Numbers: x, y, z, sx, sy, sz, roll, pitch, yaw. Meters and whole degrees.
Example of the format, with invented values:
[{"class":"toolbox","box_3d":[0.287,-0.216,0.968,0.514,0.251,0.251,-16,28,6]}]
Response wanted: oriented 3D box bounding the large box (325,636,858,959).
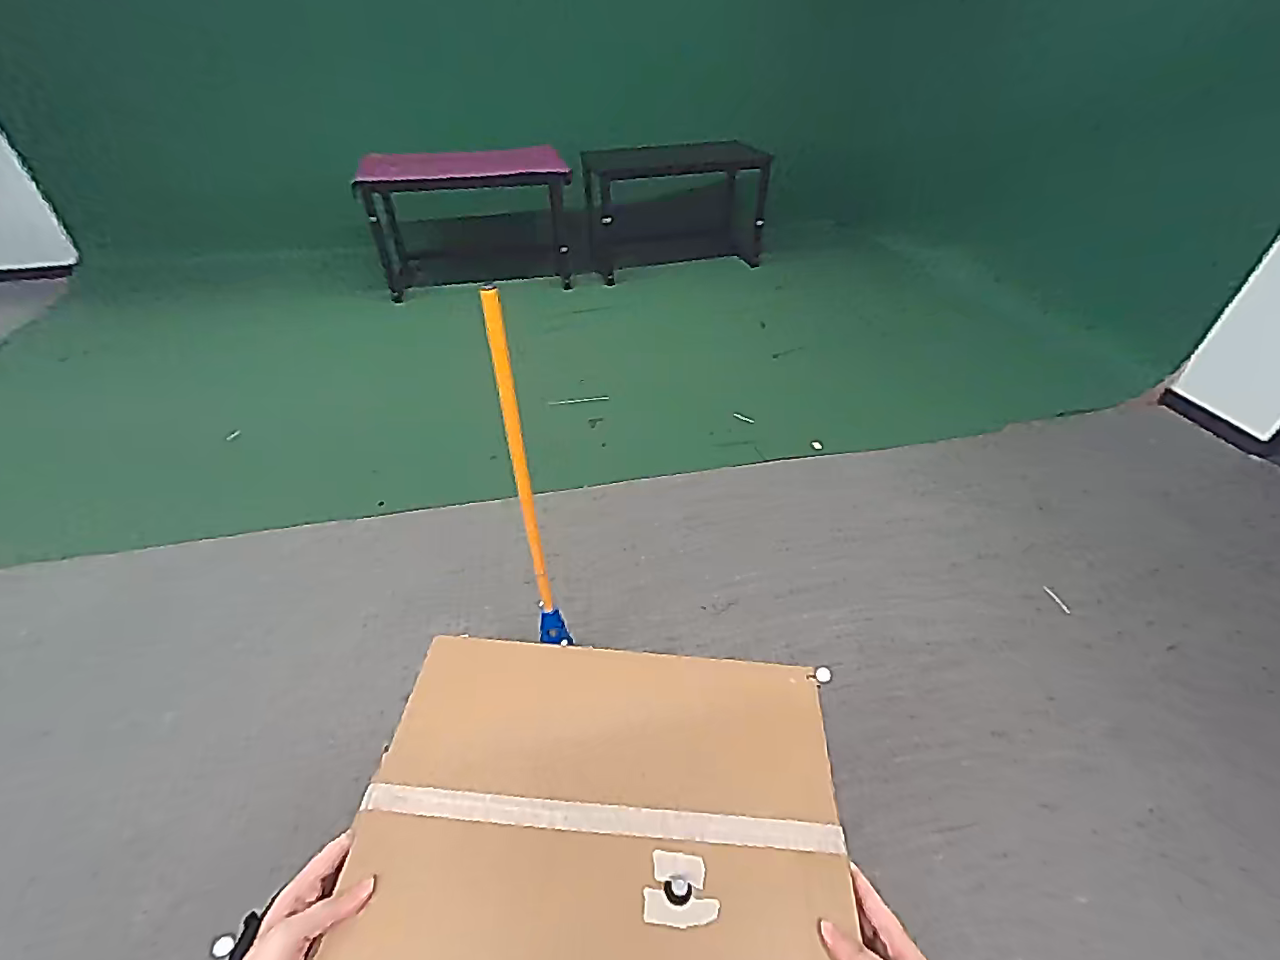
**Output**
[{"class":"large box","box_3d":[-0.033,0.396,0.577,0.408,0.320,0.320,5,44,2]}]
